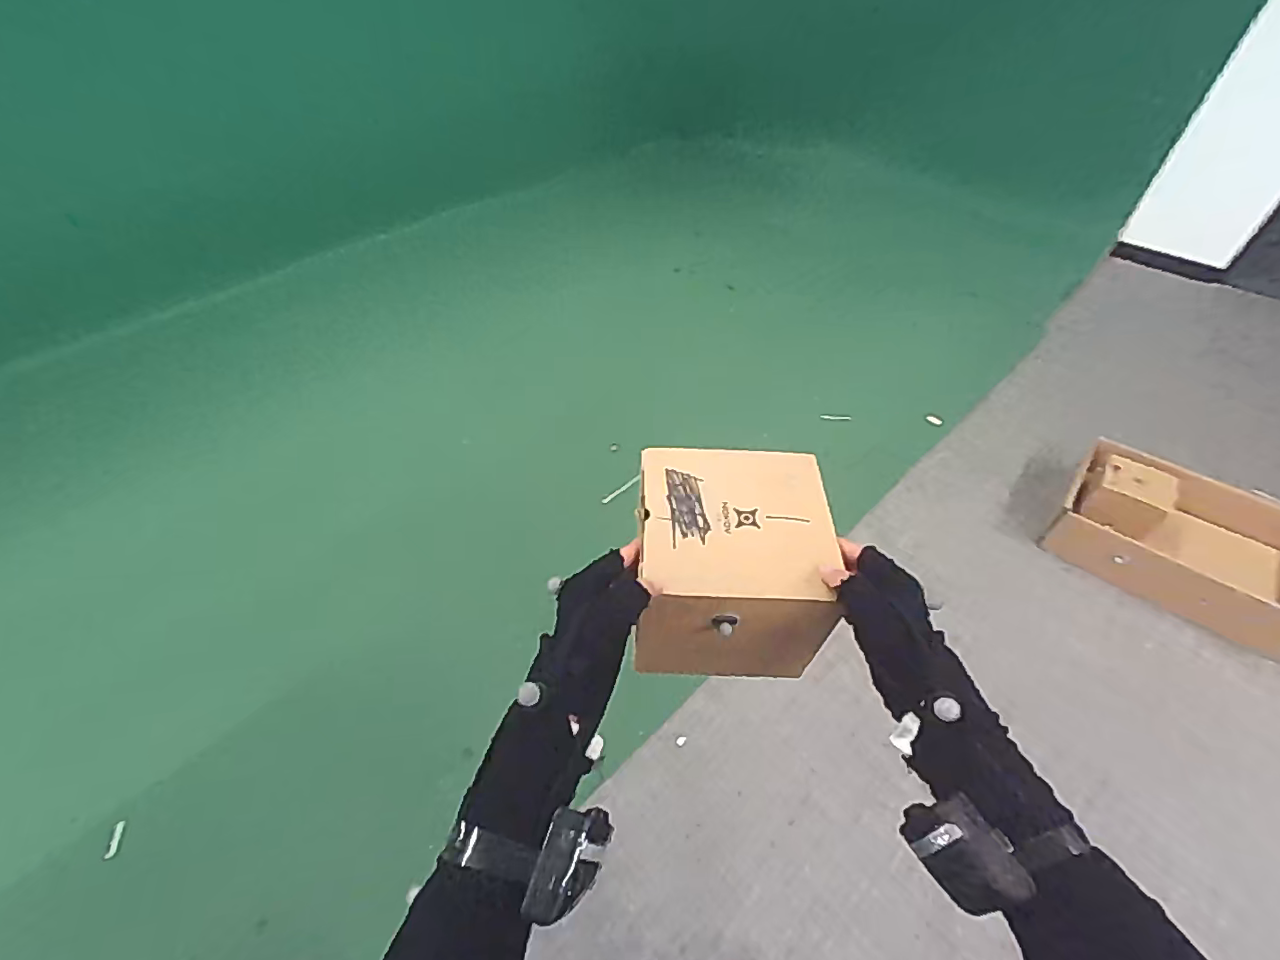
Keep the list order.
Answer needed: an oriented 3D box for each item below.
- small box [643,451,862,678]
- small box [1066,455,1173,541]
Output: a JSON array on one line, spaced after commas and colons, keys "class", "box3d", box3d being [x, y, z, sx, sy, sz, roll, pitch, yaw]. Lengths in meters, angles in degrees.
[{"class": "small box", "box3d": [0.095, 0.090, 0.551, 0.179, 0.176, 0.168, 3, 50, -1]}, {"class": "small box", "box3d": [1.459, 0.061, 1.651, 0.179, 0.176, 0.168, 30, 56, 24]}]
